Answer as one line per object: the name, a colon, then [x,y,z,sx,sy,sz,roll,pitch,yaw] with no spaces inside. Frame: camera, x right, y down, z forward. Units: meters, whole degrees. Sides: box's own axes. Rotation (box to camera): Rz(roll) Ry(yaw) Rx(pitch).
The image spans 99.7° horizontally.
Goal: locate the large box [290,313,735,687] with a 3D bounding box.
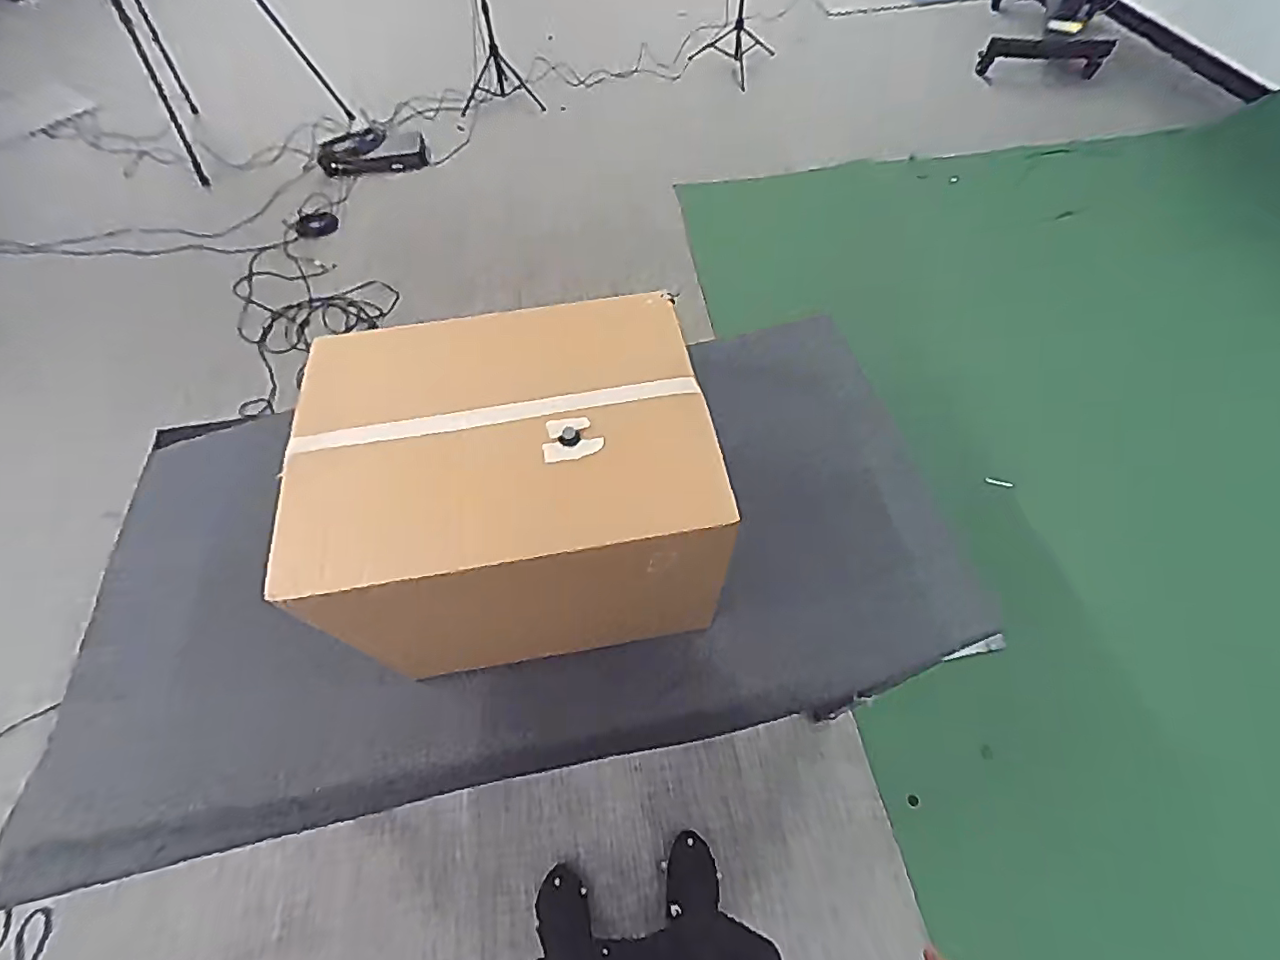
large box: [-0.132,0.035,0.680,0.408,0.320,0.320,-9,58,-5]
